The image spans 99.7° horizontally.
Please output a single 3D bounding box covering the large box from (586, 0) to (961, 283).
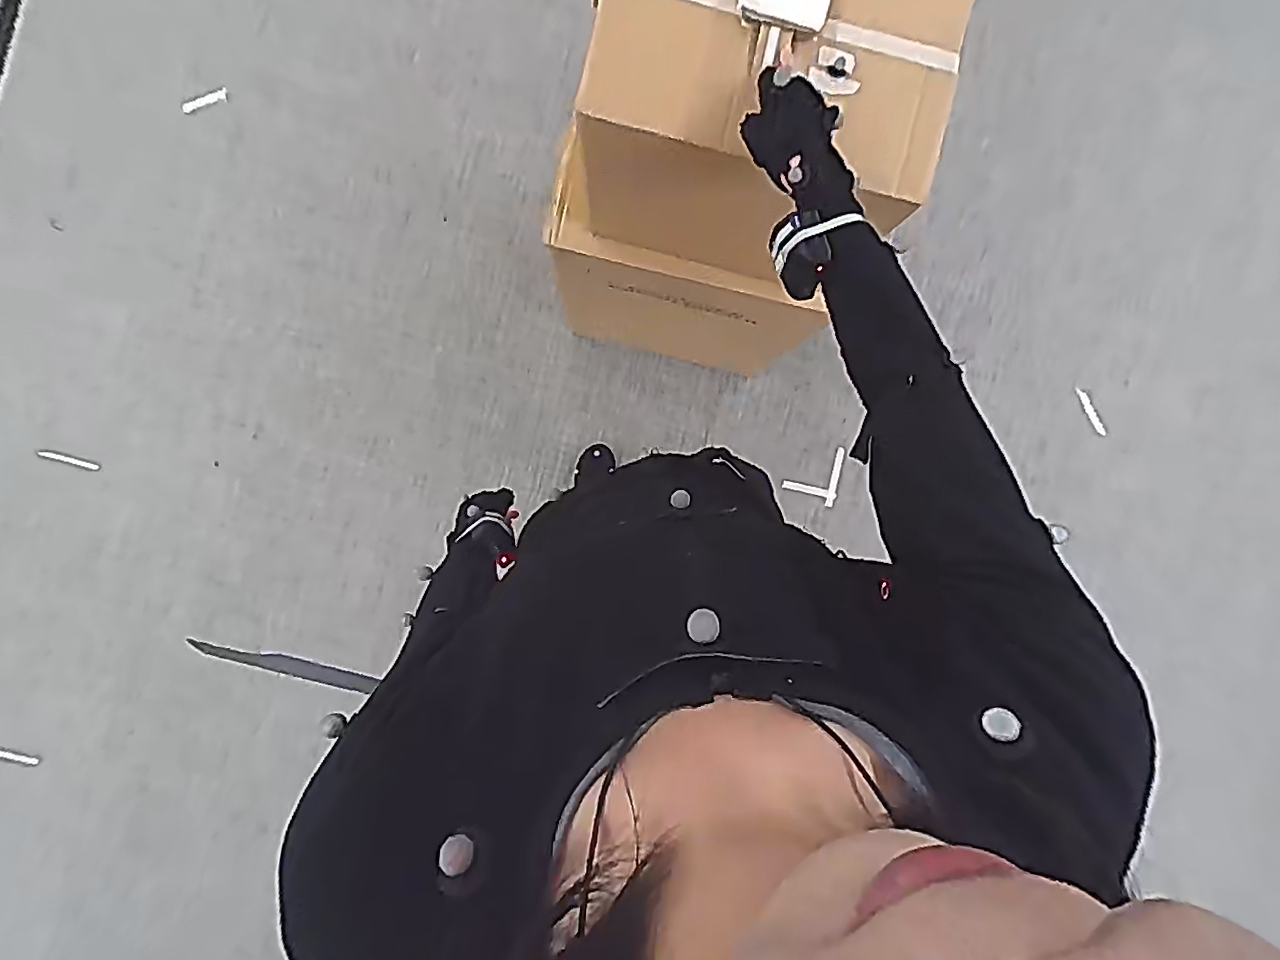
[{"bbox_3d":[0.149,-0.517,0.761,0.408,0.320,0.320,13,91,-4],"label":"large box"}]
